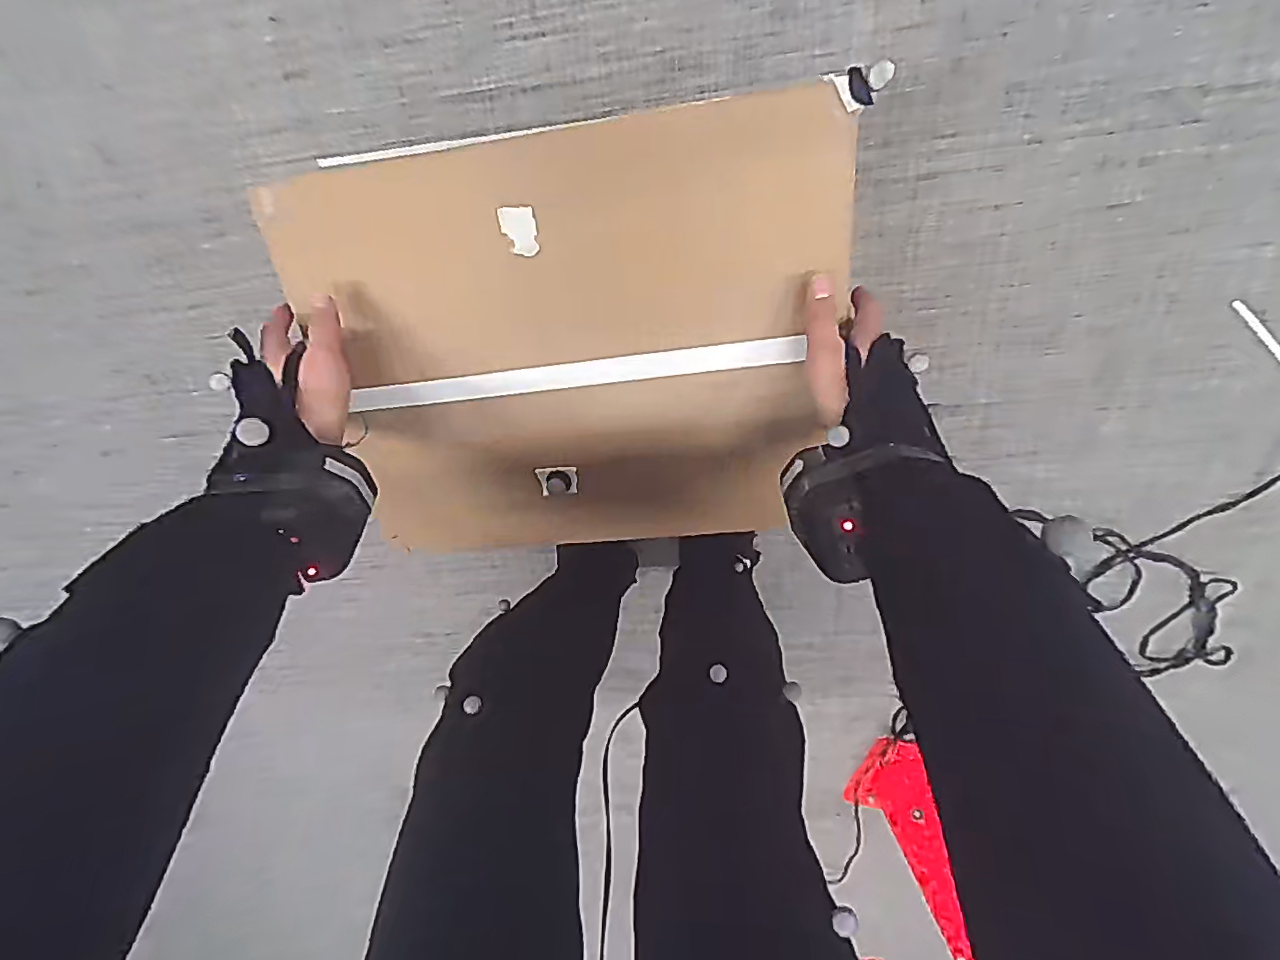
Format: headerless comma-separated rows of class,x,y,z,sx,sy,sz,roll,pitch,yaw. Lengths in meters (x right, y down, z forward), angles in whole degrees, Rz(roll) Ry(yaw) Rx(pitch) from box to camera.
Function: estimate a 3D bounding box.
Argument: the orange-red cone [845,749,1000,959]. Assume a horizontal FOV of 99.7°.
orange-red cone,0.503,0.663,0.873,0.199,0.360,0.198,13,117,-3
